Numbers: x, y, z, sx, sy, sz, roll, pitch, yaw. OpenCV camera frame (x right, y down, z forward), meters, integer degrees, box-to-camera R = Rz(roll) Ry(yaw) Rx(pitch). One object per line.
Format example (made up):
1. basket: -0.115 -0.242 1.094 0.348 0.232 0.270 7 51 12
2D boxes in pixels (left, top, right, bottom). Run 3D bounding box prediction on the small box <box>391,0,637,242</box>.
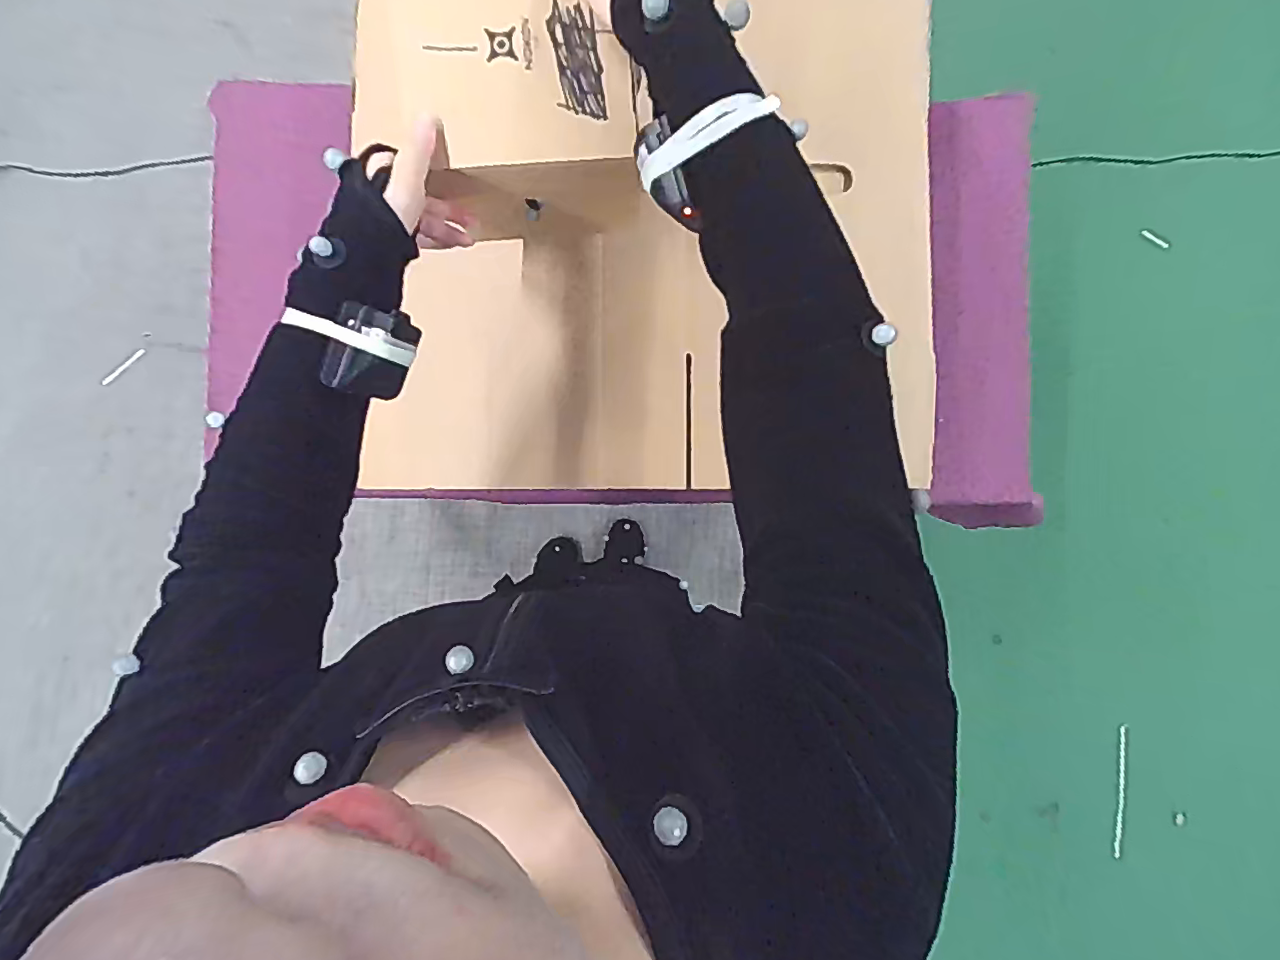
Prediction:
1. small box: -0.094 -0.324 0.480 0.179 0.176 0.168 -3 97 2
